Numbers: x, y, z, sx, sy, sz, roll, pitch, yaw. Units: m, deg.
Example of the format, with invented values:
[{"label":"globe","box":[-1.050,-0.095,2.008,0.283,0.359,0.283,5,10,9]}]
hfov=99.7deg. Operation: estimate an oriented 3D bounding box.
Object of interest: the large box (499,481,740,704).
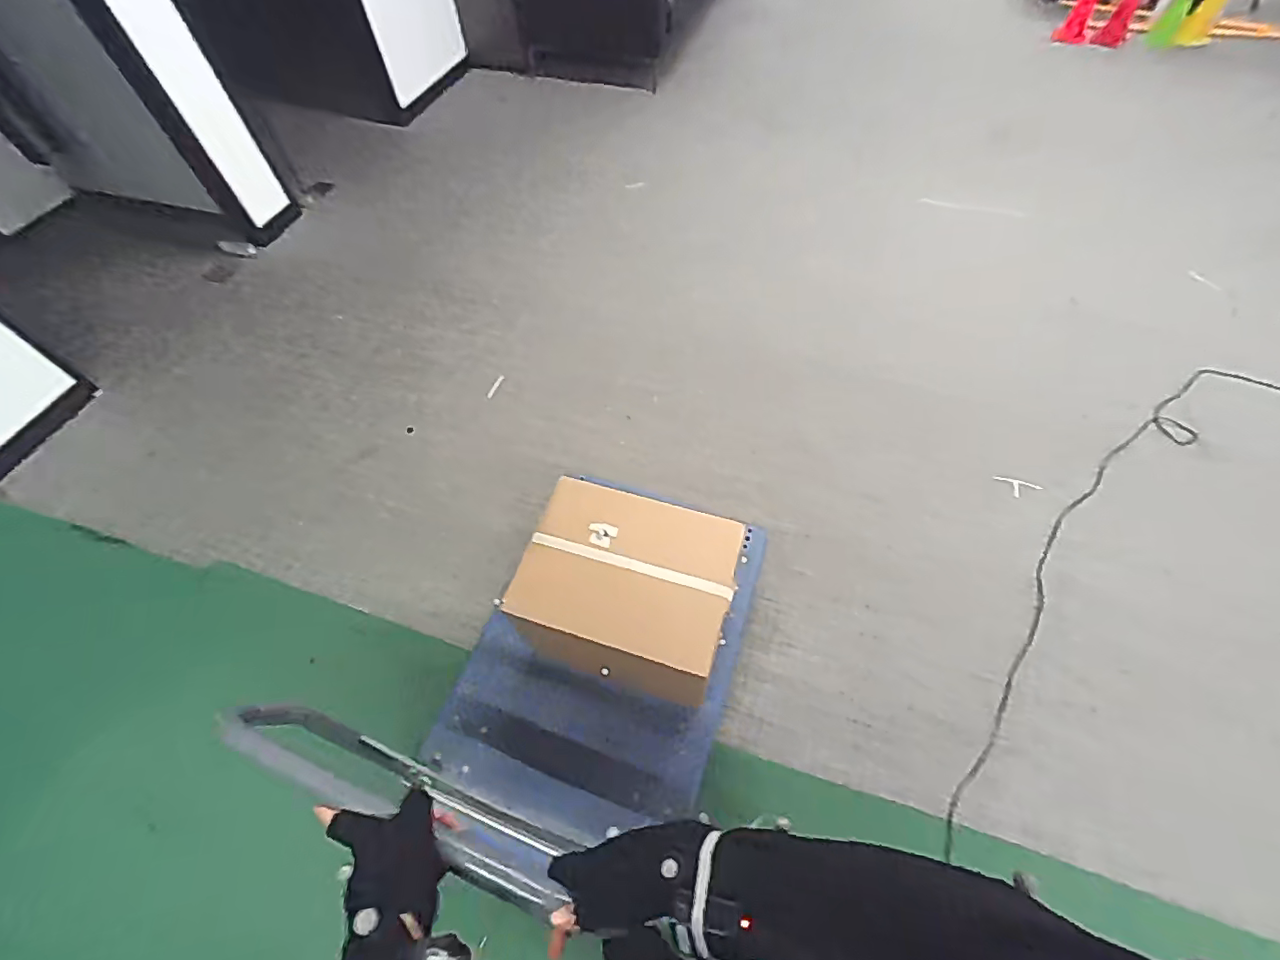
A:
[{"label":"large box","box":[-0.021,0.247,1.170,0.408,0.320,0.320,14,59,14]}]
